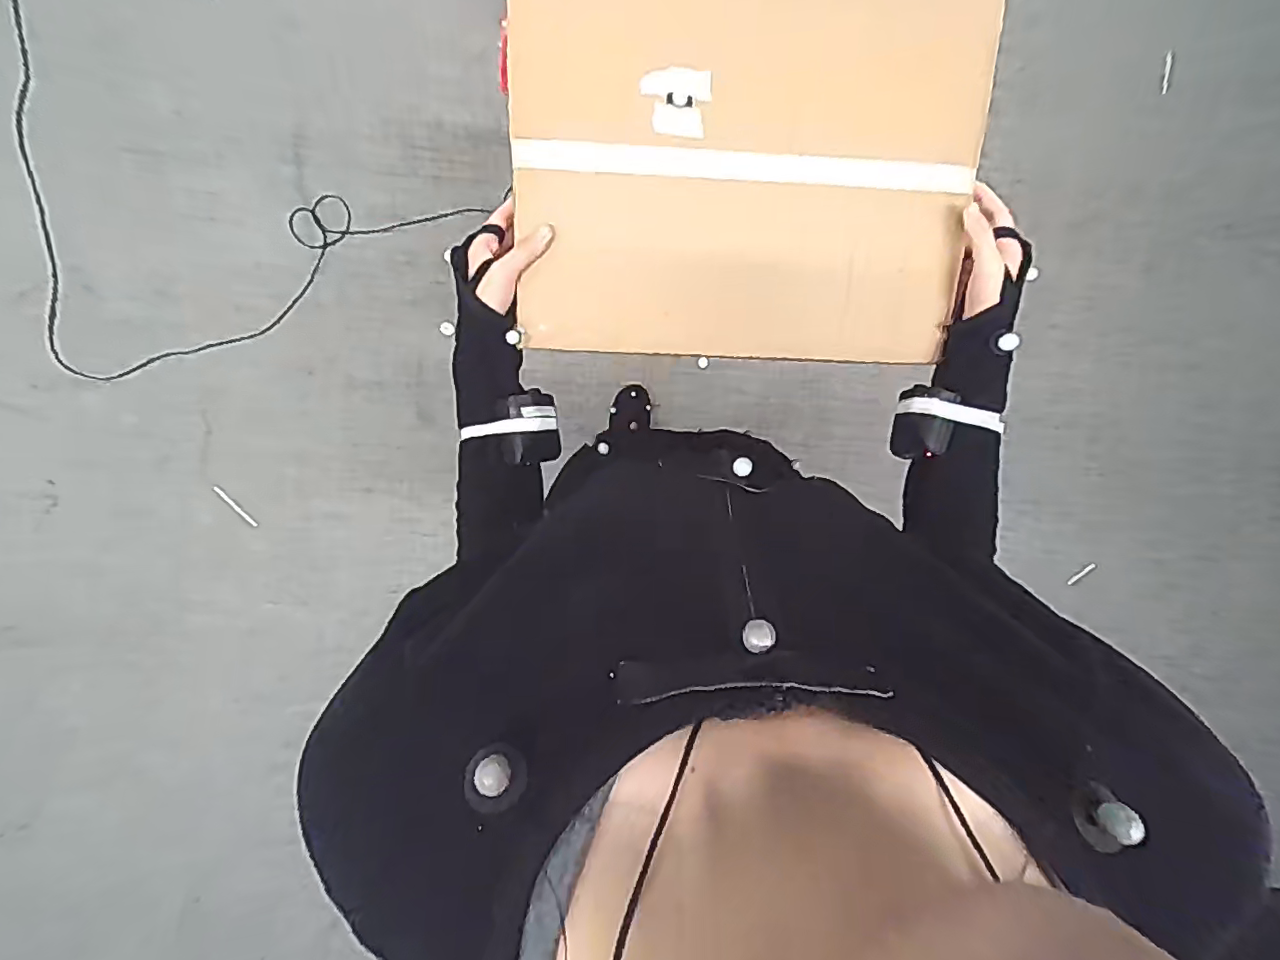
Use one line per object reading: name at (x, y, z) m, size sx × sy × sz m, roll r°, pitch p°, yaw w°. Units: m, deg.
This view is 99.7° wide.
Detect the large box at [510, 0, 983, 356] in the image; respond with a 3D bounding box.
large box at (0.082, -0.313, 0.625) m, size 0.408 × 0.320 × 0.320 m, roll 1°, pitch 104°, yaw -4°
